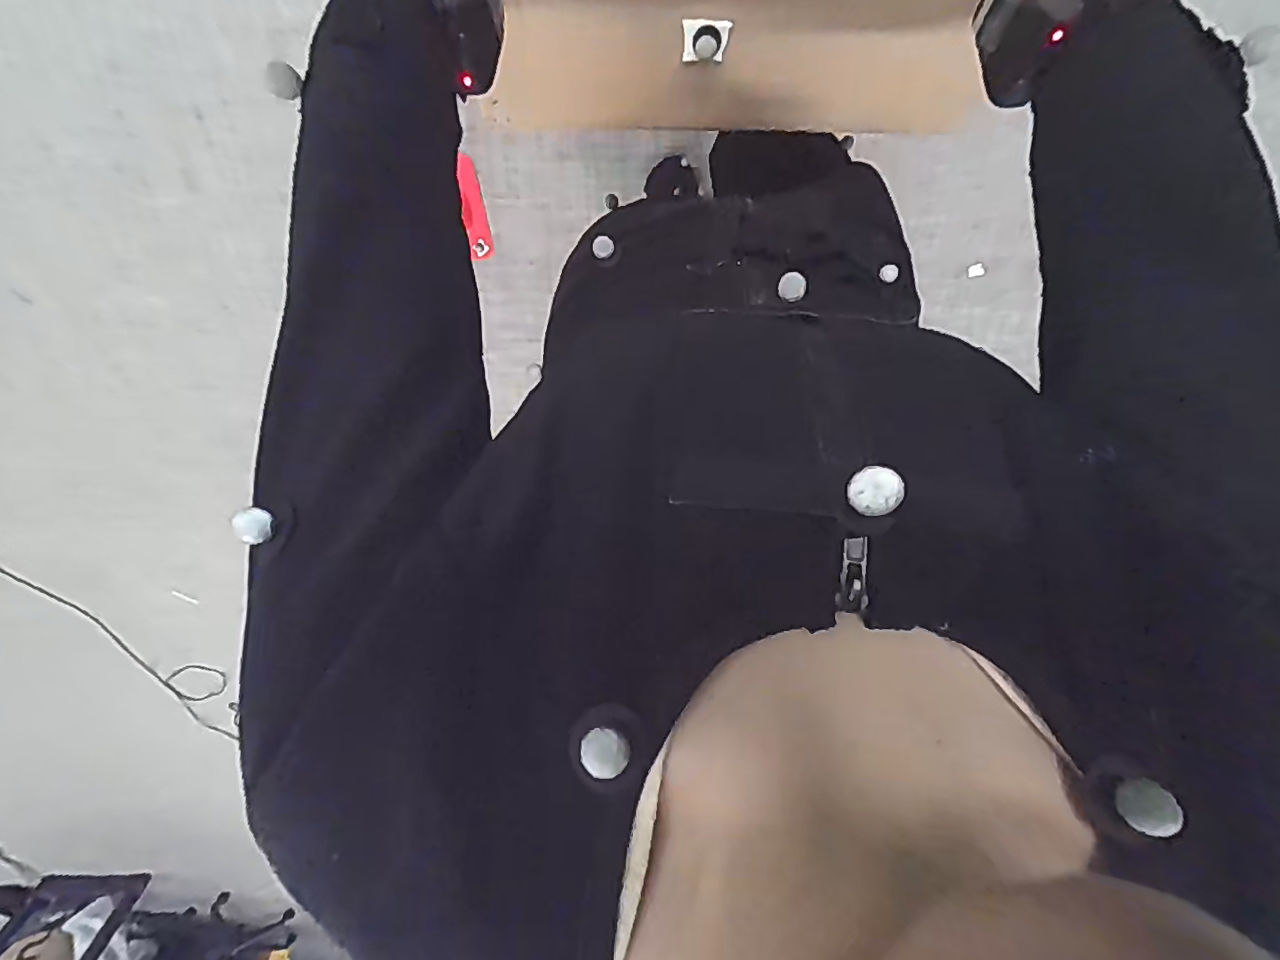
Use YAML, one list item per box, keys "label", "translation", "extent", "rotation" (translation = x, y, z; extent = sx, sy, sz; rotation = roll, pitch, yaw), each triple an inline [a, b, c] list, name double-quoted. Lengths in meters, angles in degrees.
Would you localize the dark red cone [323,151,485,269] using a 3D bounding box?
- label: "dark red cone"
  translation: [-0.437, -0.468, 0.965]
  extent: [0.202, 0.394, 0.201]
  rotation: [-6, 119, 6]
